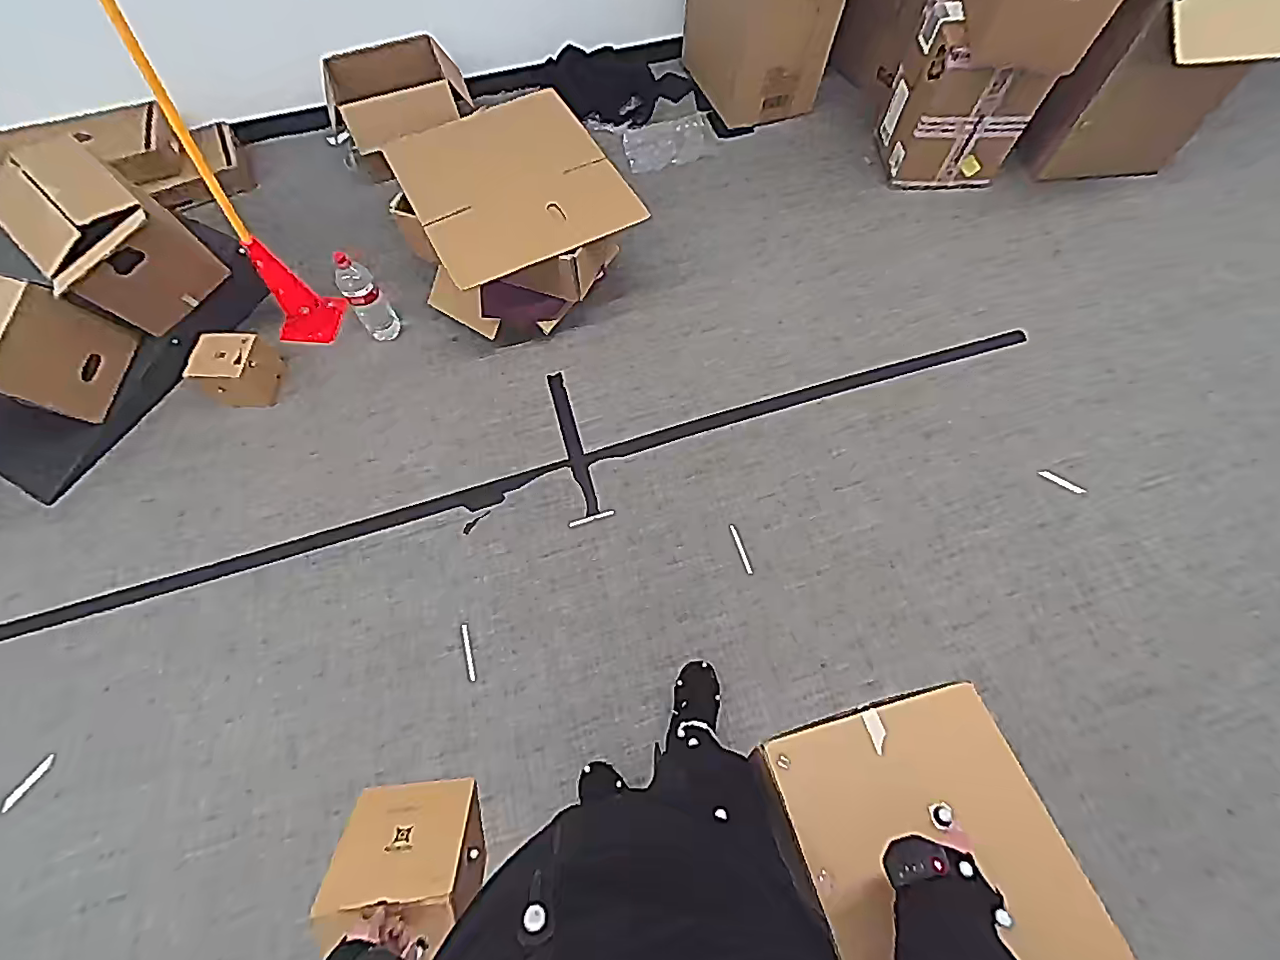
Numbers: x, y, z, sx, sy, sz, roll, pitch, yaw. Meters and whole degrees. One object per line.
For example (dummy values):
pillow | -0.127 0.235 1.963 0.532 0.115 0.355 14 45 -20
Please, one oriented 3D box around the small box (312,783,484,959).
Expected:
small box | -0.317 0.564 0.752 0.168 0.179 0.176 -2 109 -6
